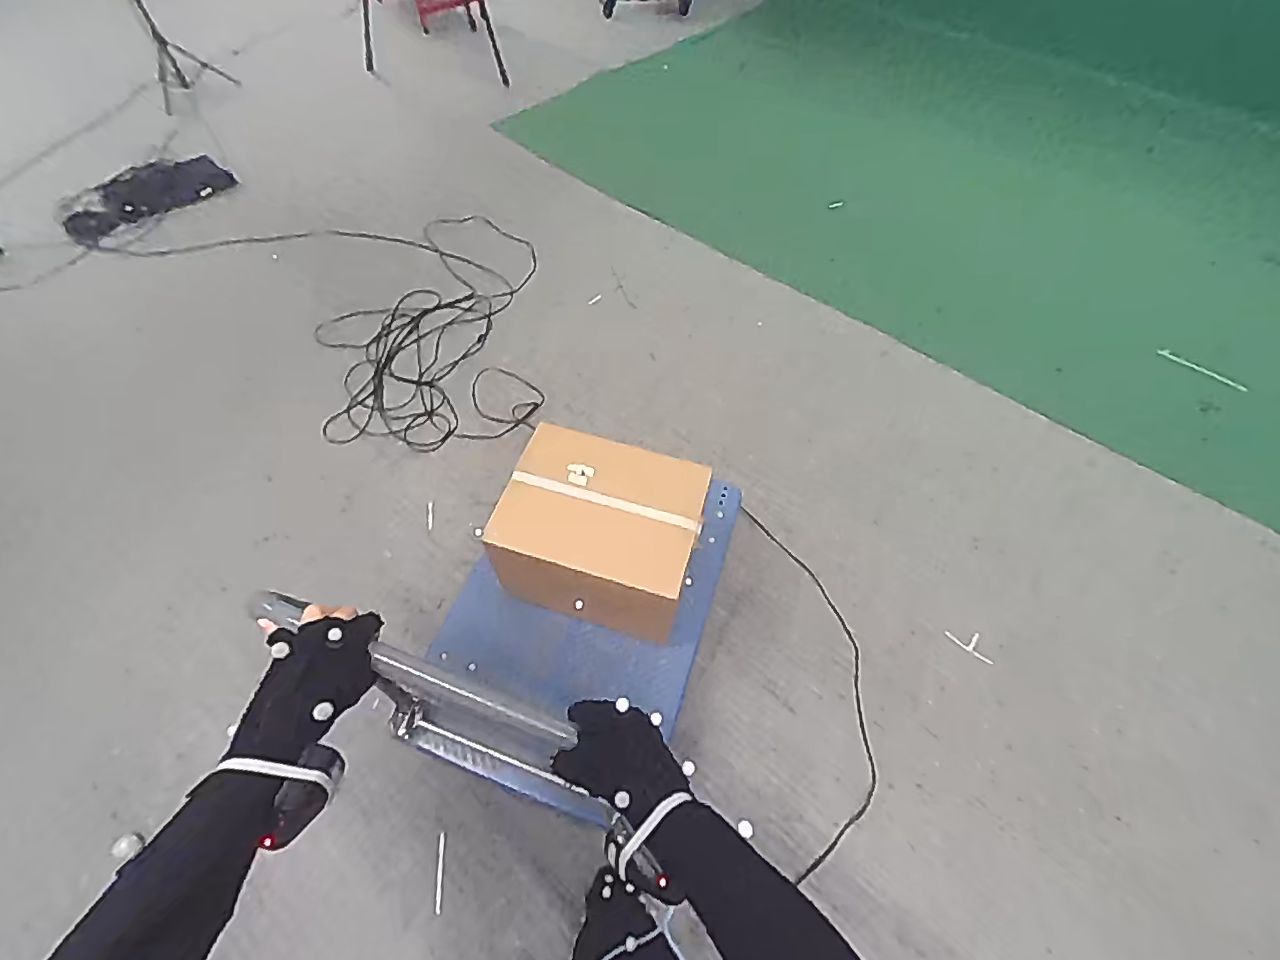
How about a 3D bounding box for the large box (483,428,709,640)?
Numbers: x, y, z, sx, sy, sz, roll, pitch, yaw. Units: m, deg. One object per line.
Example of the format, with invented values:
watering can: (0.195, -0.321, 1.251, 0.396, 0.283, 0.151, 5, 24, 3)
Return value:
large box: (-0.081, 0.131, 1.245, 0.408, 0.320, 0.320, 15, 57, 8)
